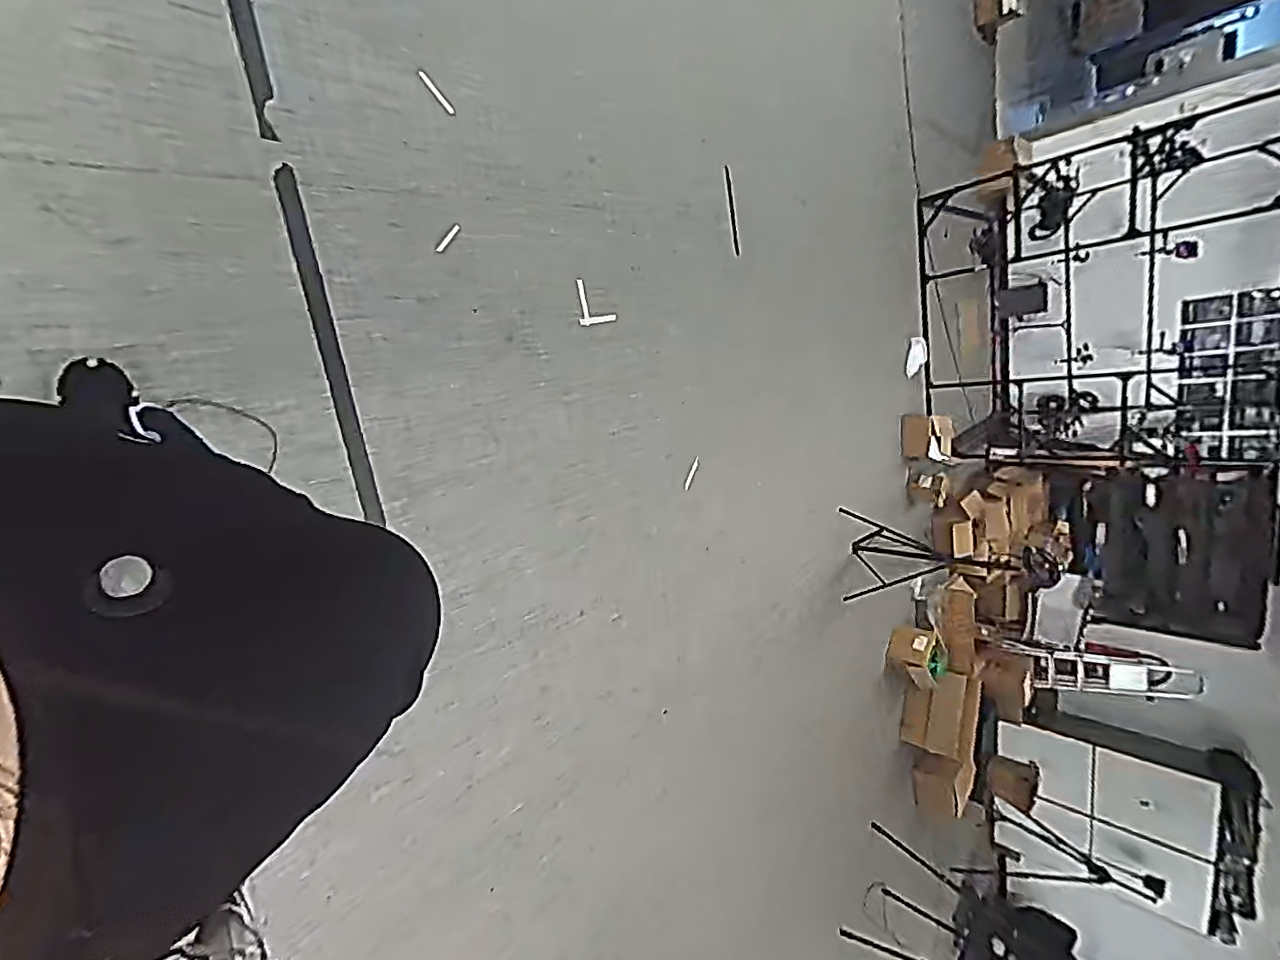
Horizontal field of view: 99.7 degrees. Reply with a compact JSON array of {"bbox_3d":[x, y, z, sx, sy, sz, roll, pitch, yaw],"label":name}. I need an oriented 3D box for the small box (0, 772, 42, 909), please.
[{"bbox_3d":[-1.175,0.647,0.935,0.179,0.176,0.168,-8,98,-44],"label":"small box"}]
